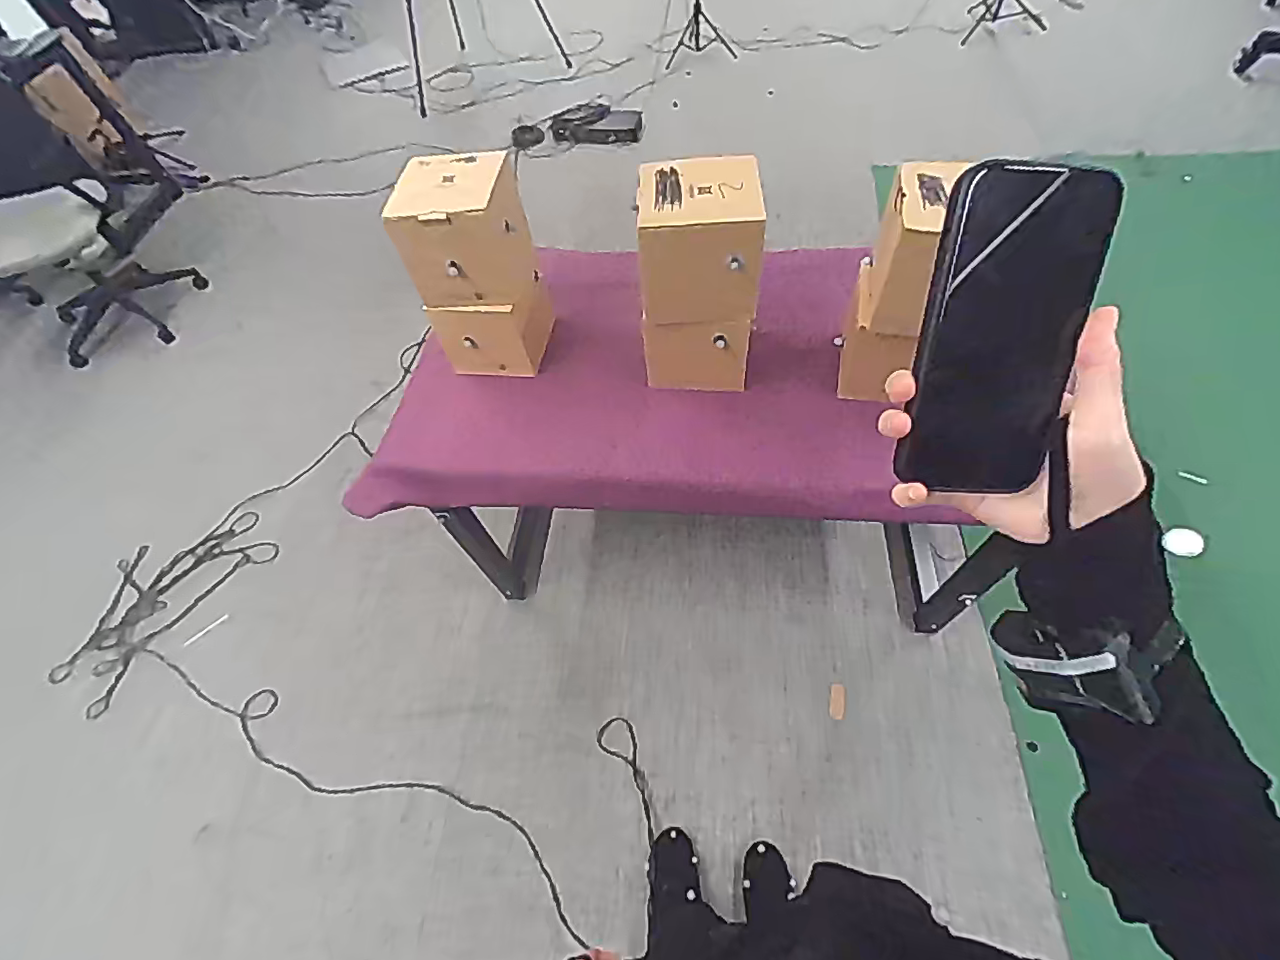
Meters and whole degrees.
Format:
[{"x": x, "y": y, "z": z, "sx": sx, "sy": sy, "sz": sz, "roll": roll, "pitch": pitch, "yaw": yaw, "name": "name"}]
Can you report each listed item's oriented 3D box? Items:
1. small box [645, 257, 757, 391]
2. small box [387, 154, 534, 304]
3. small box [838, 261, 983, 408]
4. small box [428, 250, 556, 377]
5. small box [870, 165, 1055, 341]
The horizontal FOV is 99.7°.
[{"x": 0.111, "y": -0.275, "z": 0.968, "sx": 0.179, "sy": 0.176, "sz": 0.168, "roll": 4, "pitch": 58, "yaw": 9, "name": "small box"}, {"x": -0.286, "y": -0.412, "z": 0.909, "sx": 0.168, "sy": 0.176, "sz": 0.179, "roll": 0, "pitch": 58, "yaw": 6, "name": "small box"}, {"x": 0.445, "y": -0.241, "z": 0.909, "sx": 0.179, "sy": 0.176, "sz": 0.168, "roll": 9, "pitch": 58, "yaw": 13, "name": "small box"}, {"x": -0.271, "y": -0.316, "z": 1.042, "sx": 0.168, "sy": 0.176, "sz": 0.179, "roll": 4, "pitch": 58, "yaw": 9, "name": "small box"}, {"x": 0.435, "y": -0.316, "z": 0.763, "sx": 0.179, "sy": 0.176, "sz": 0.168, "roll": 9, "pitch": 58, "yaw": 12, "name": "small box"}]
